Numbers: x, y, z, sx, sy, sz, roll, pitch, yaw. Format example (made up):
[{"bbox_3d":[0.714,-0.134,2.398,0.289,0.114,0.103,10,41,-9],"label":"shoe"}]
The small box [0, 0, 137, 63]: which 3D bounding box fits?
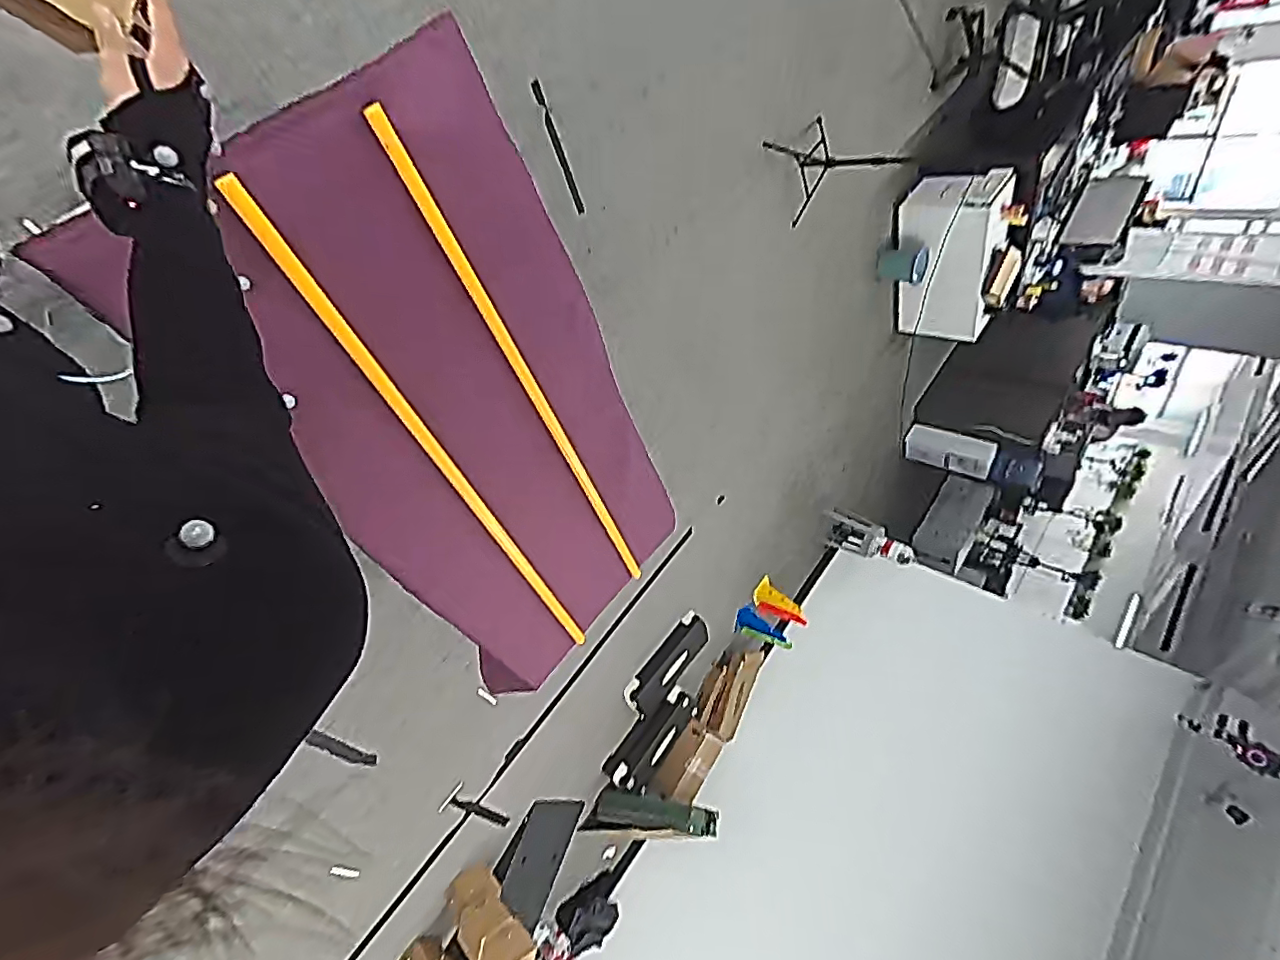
[{"bbox_3d":[-0.537,-0.486,0.437,0.179,0.176,0.168,15,100,-60],"label":"small box"}]
